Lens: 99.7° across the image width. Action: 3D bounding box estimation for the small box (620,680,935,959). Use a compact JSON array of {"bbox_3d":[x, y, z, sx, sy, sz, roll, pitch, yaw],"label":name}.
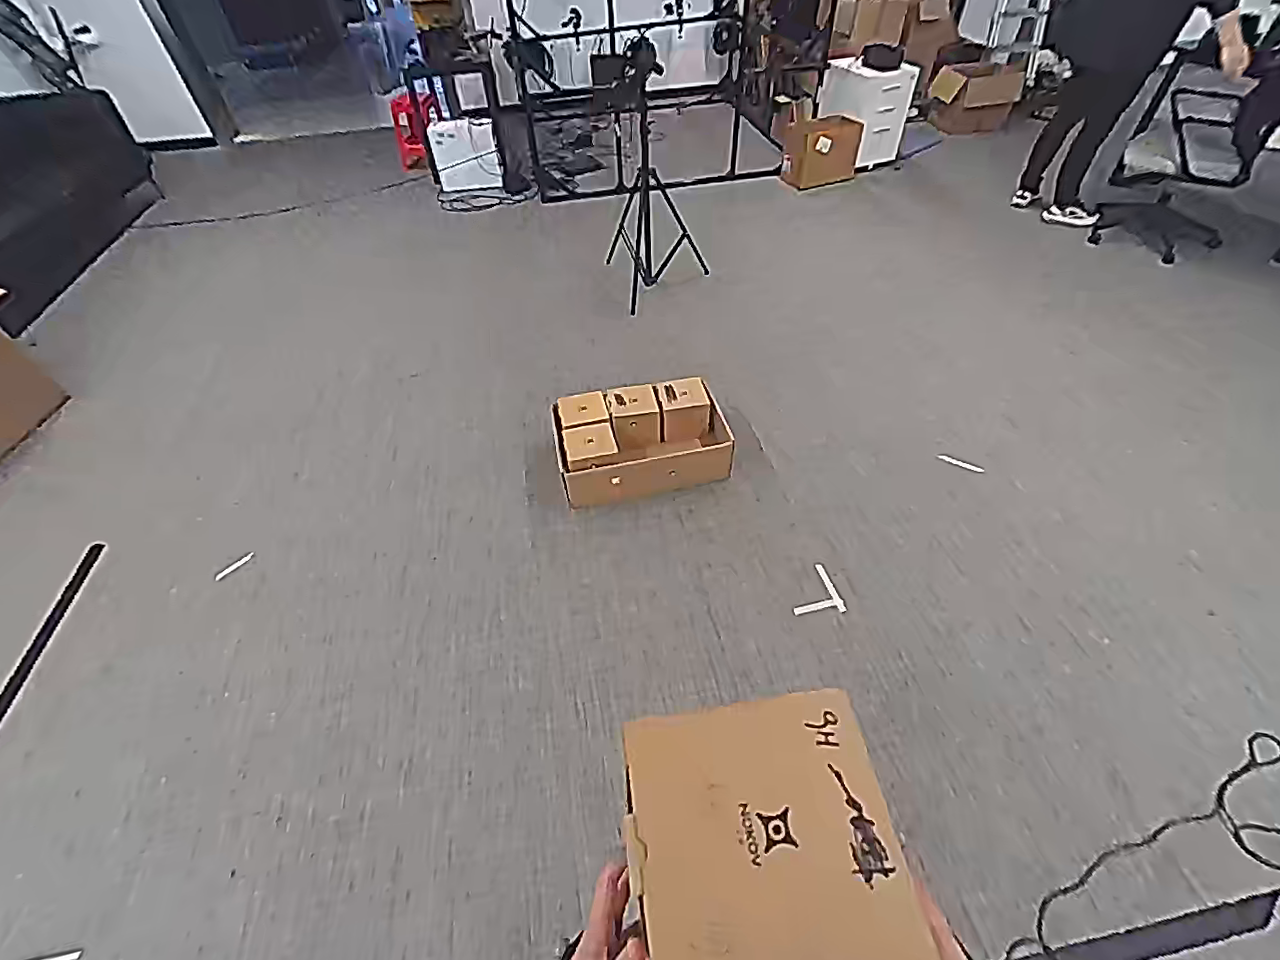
[{"bbox_3d":[0.083,0.274,0.425,0.179,0.176,0.168,-7,55,-4],"label":"small box"}]
